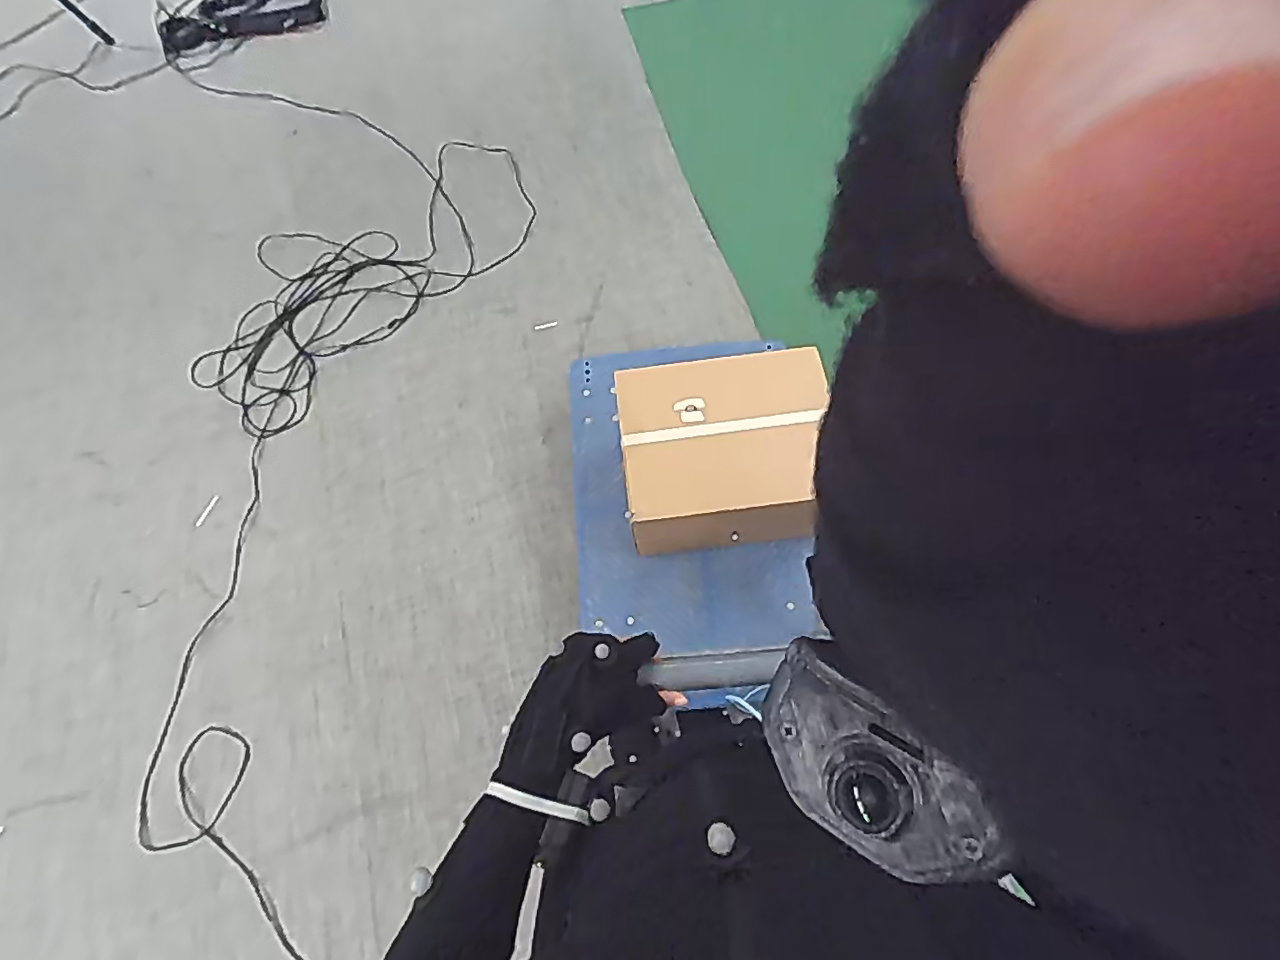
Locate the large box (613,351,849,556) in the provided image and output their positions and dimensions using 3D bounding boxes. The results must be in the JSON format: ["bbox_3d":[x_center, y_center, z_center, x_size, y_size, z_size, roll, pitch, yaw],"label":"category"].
[{"bbox_3d":[0.173,-0.038,1.167,0.408,0.320,0.320,-9,70,1],"label":"large box"}]
